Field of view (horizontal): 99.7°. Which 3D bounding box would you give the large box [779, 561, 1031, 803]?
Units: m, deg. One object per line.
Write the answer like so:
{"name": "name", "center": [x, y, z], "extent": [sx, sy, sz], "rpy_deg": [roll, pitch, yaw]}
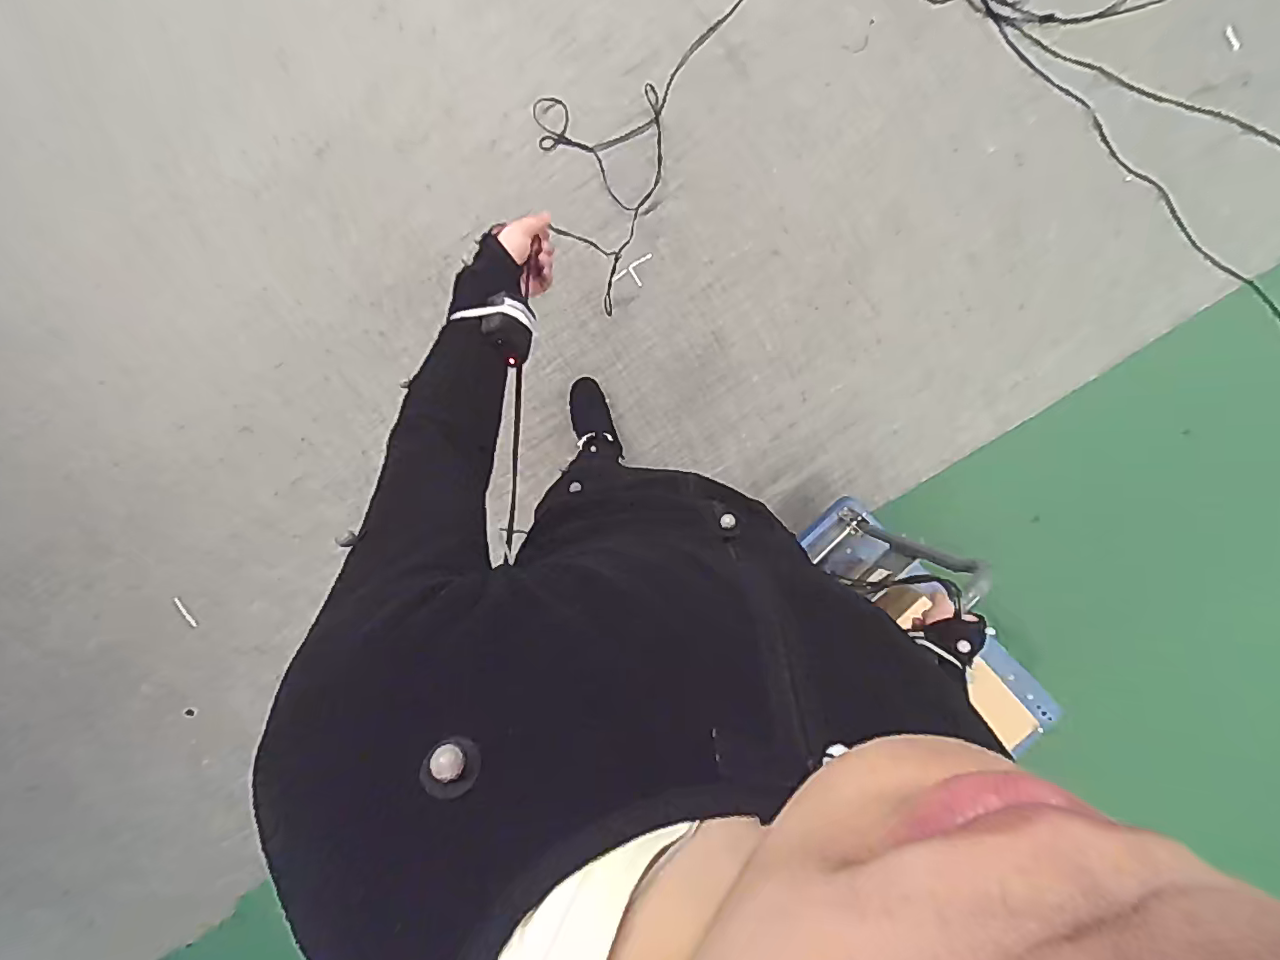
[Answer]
{"name": "large box", "center": [0.622, 0.470, 1.341], "extent": [0.320, 0.320, 0.408], "rpy_deg": [-43, 95, 4]}
